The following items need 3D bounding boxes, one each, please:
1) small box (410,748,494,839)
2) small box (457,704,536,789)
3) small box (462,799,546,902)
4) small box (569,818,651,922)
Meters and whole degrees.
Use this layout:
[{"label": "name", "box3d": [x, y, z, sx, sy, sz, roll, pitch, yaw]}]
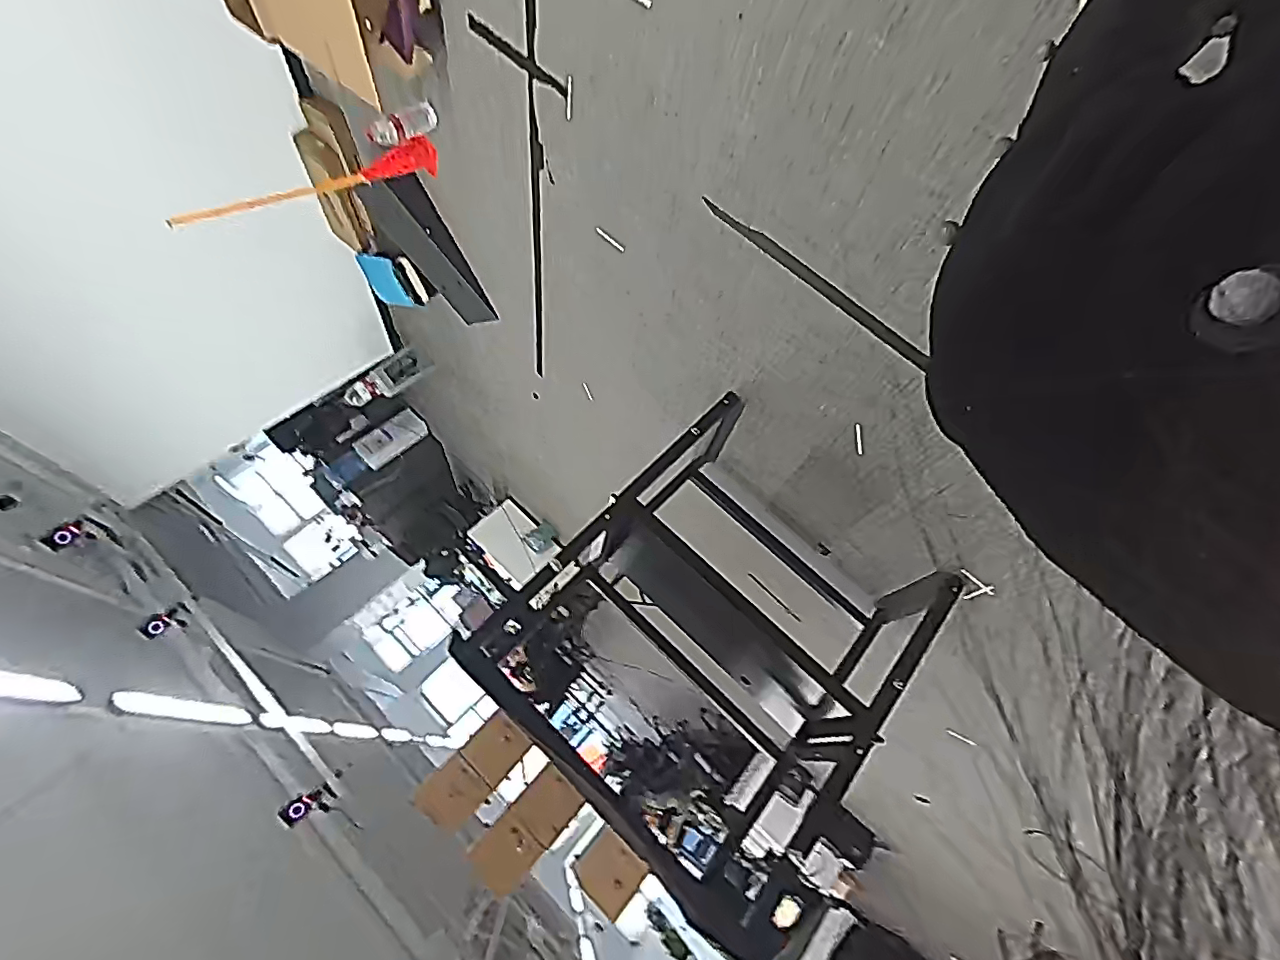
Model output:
[{"label": "small box", "box3d": [-0.548, 0.920, 1.607, 0.168, 0.176, 0.179, 43, 155, 9]}, {"label": "small box", "box3d": [-0.437, 0.818, 1.673, 0.168, 0.176, 0.179, 41, 155, 9]}, {"label": "small box", "box3d": [-0.388, 1.068, 1.577, 0.168, 0.176, 0.179, 41, 155, 11]}, {"label": "small box", "box3d": [-0.088, 1.141, 1.600, 0.168, 0.176, 0.179, 43, 156, 9]}]
